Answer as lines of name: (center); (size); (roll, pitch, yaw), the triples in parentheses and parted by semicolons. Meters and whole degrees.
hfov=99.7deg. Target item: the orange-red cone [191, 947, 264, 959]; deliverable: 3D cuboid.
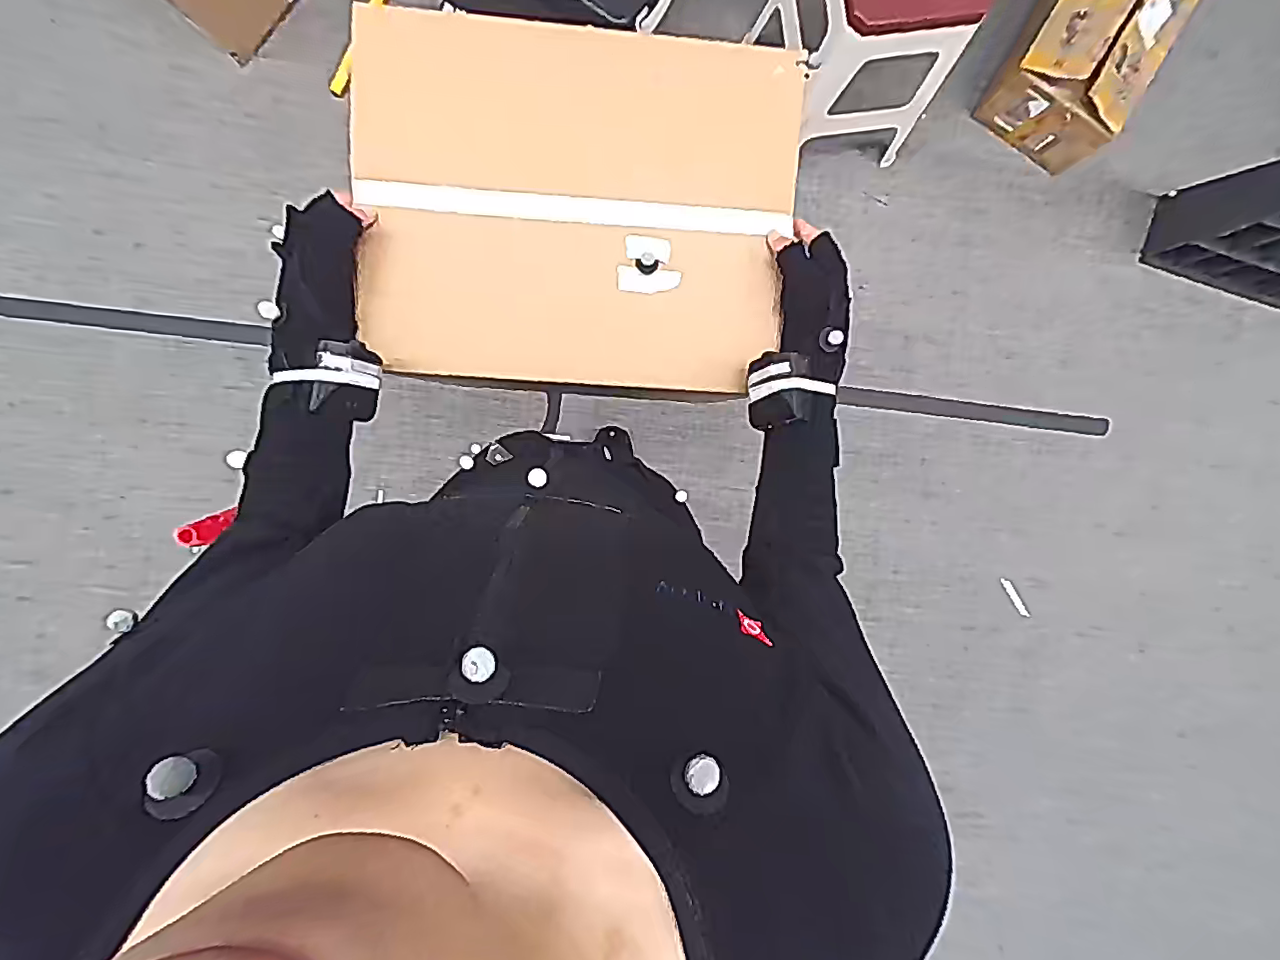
orange-red cone: (-1.111, 1.375, 1.294); (0.198, 0.360, 0.199); (4, 94, -3)

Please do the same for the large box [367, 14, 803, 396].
large box: (-0.062, -0.271, 0.654); (0.408, 0.320, 0.320); (3, 97, -4)

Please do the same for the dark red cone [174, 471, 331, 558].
dark red cone: (-0.892, 0.095, 1.225); (0.201, 0.394, 0.202); (12, 92, -5)
